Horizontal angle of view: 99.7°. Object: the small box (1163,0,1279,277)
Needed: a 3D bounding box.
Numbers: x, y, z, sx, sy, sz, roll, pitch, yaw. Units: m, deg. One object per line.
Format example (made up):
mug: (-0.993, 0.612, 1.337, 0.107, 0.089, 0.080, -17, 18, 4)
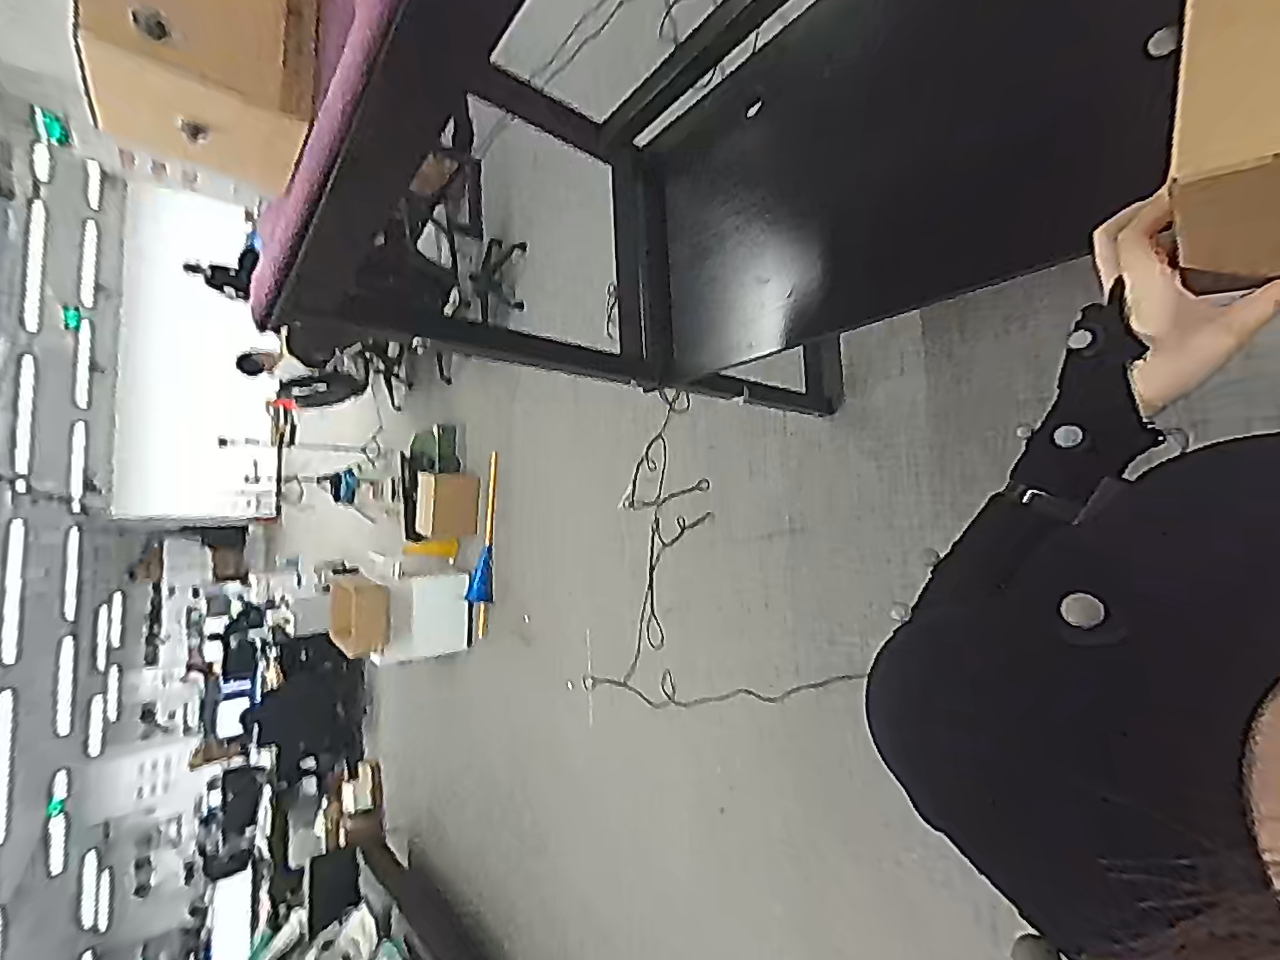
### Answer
small box: (0.359, -0.214, 0.238, 0.168, 0.176, 0.179, 7, 92, 48)
